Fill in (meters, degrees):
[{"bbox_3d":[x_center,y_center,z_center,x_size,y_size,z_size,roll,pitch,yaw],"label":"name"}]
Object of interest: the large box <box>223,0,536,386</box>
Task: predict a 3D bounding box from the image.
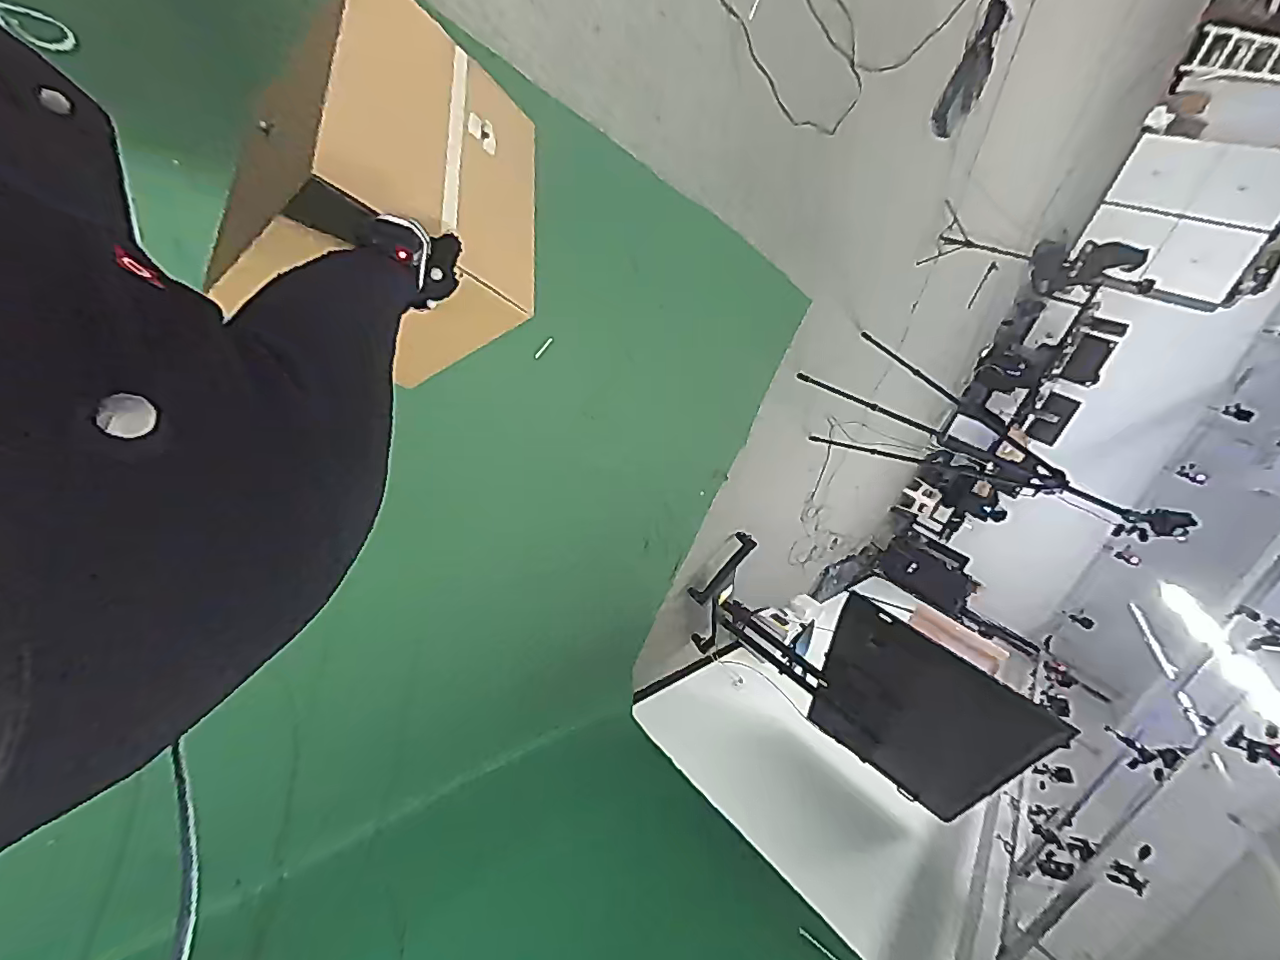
[{"bbox_3d":[-0.382,-0.420,0.836,0.320,0.320,0.408,23,56,-50],"label":"large box"}]
